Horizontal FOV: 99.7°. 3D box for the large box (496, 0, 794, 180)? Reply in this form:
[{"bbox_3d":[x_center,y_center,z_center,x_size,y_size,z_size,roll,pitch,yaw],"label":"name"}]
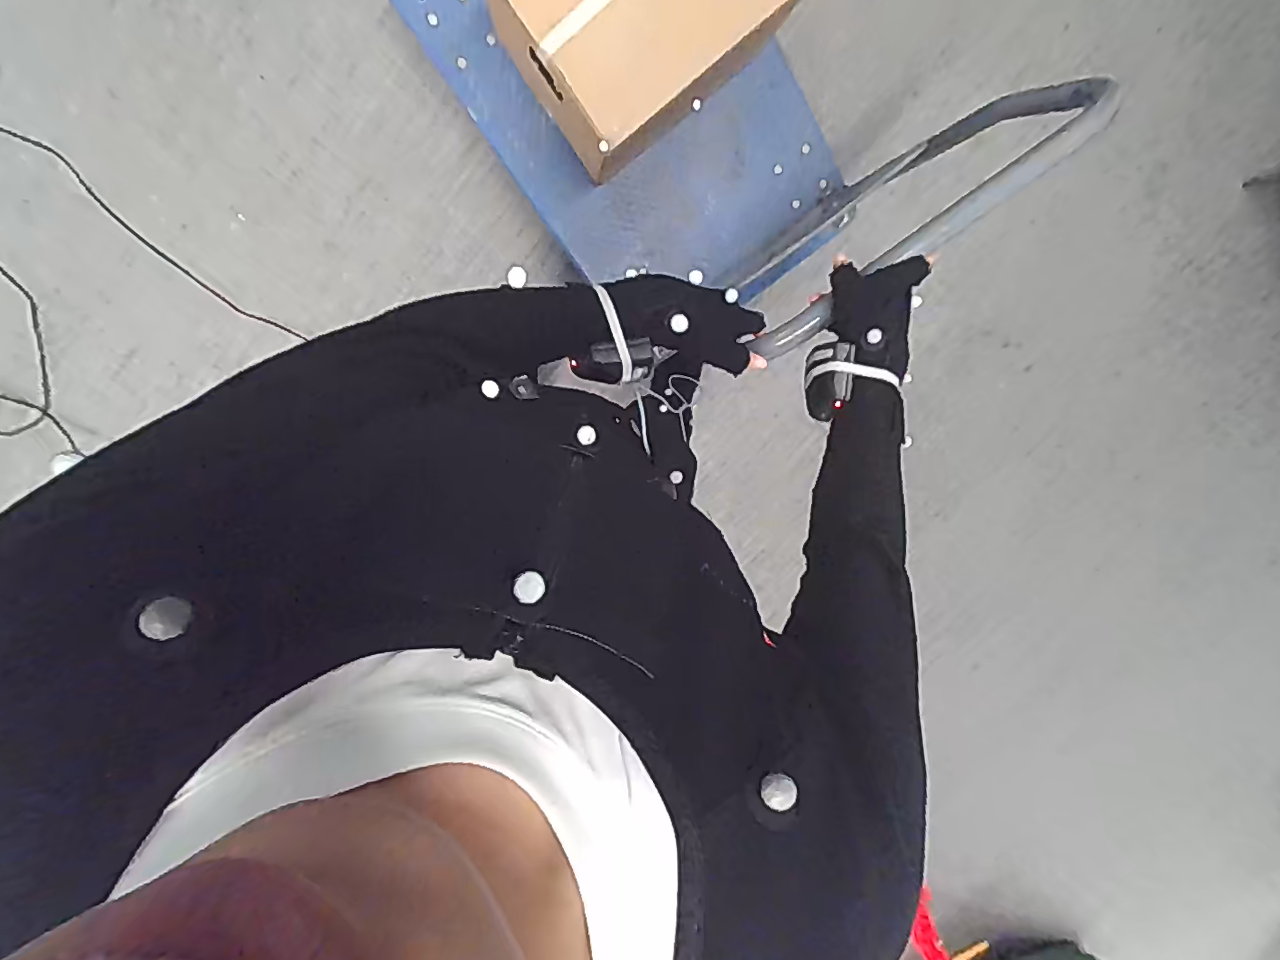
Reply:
[{"bbox_3d":[0.011,-0.792,0.904,0.408,0.320,0.320,-38,109,8],"label":"large box"}]
